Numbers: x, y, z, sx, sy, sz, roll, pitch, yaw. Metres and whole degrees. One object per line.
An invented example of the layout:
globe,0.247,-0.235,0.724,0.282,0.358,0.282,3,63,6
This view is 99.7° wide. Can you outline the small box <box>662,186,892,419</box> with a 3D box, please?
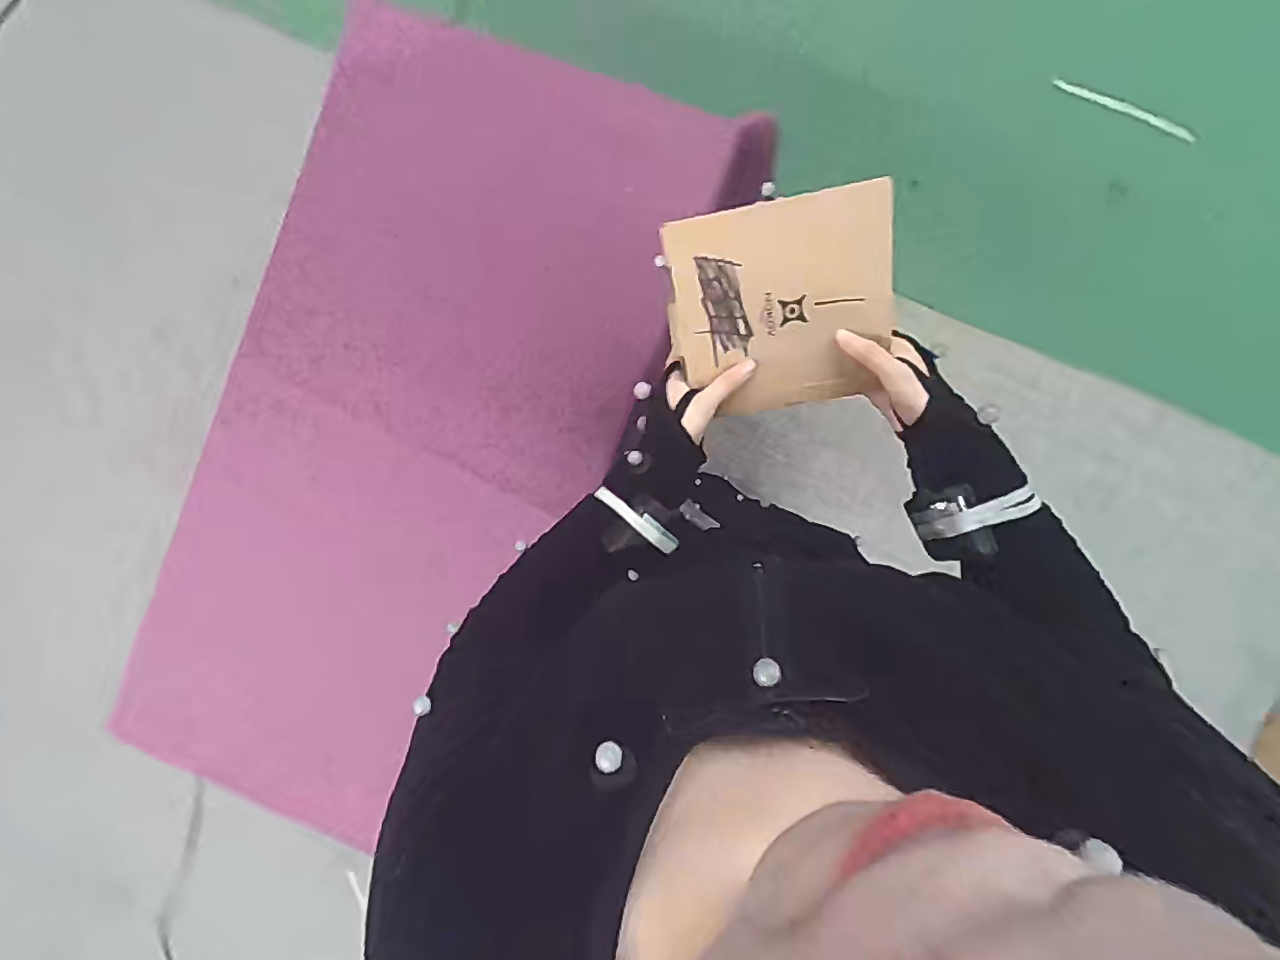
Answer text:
small box,0.119,-0.169,0.517,0.179,0.176,0.168,-7,115,6
